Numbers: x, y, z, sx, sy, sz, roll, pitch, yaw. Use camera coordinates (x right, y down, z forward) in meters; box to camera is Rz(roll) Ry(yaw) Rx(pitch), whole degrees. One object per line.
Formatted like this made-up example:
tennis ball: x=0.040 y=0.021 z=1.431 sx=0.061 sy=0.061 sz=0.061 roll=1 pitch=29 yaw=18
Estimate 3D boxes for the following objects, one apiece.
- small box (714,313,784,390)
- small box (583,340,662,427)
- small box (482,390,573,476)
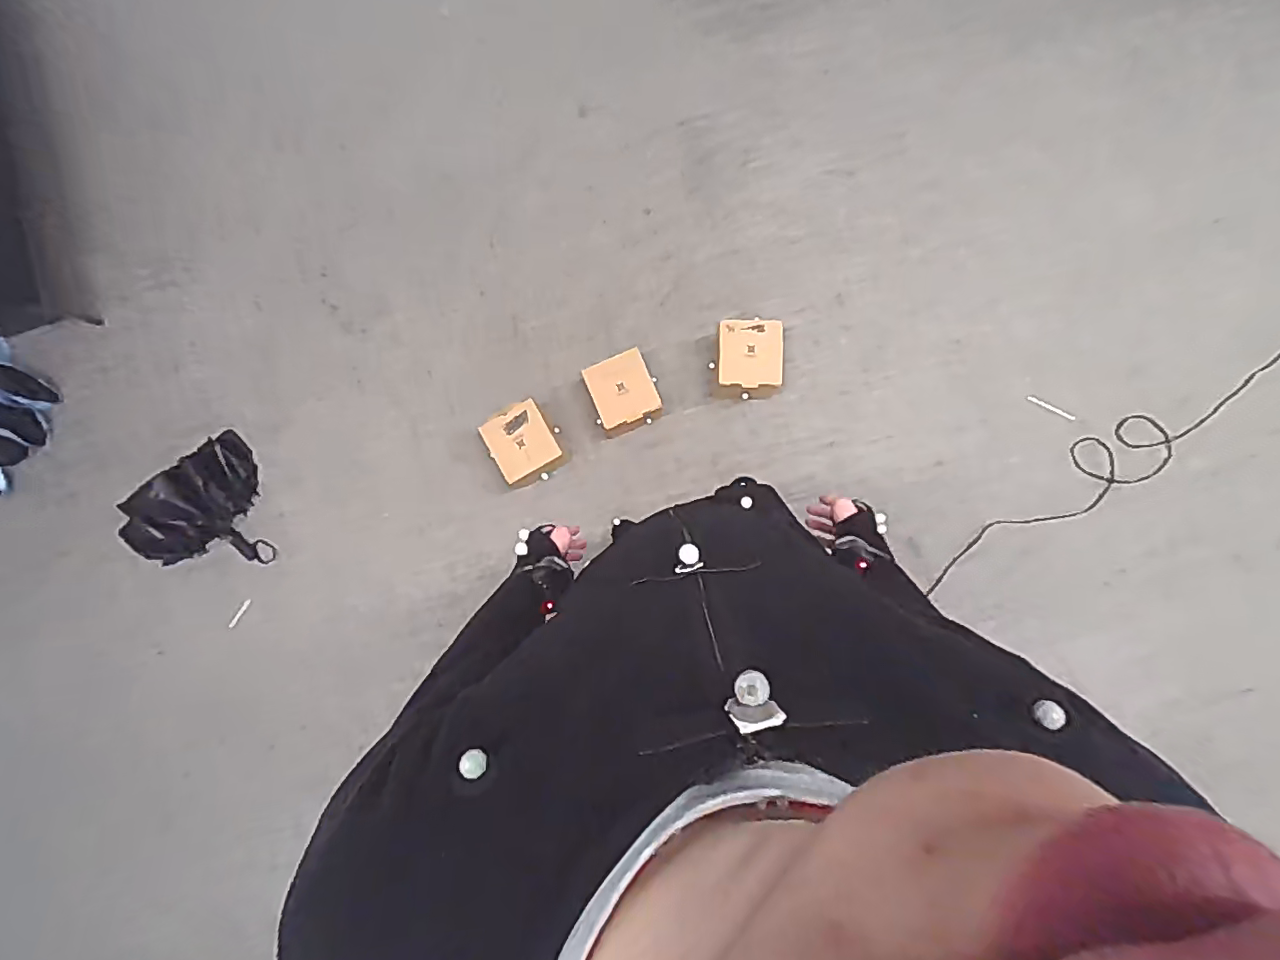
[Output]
small box: x=0.296 y=-0.348 z=1.491 sx=0.168 sy=0.176 sz=0.179 roll=2 pitch=88 yaw=3
small box: x=-0.042 y=-0.258 z=1.506 sx=0.168 sy=0.176 sz=0.179 roll=-23 pitch=85 yaw=0
small box: x=-0.307 y=-0.123 z=1.509 sx=0.168 sy=0.176 sz=0.179 roll=-29 pitch=87 yaw=1
